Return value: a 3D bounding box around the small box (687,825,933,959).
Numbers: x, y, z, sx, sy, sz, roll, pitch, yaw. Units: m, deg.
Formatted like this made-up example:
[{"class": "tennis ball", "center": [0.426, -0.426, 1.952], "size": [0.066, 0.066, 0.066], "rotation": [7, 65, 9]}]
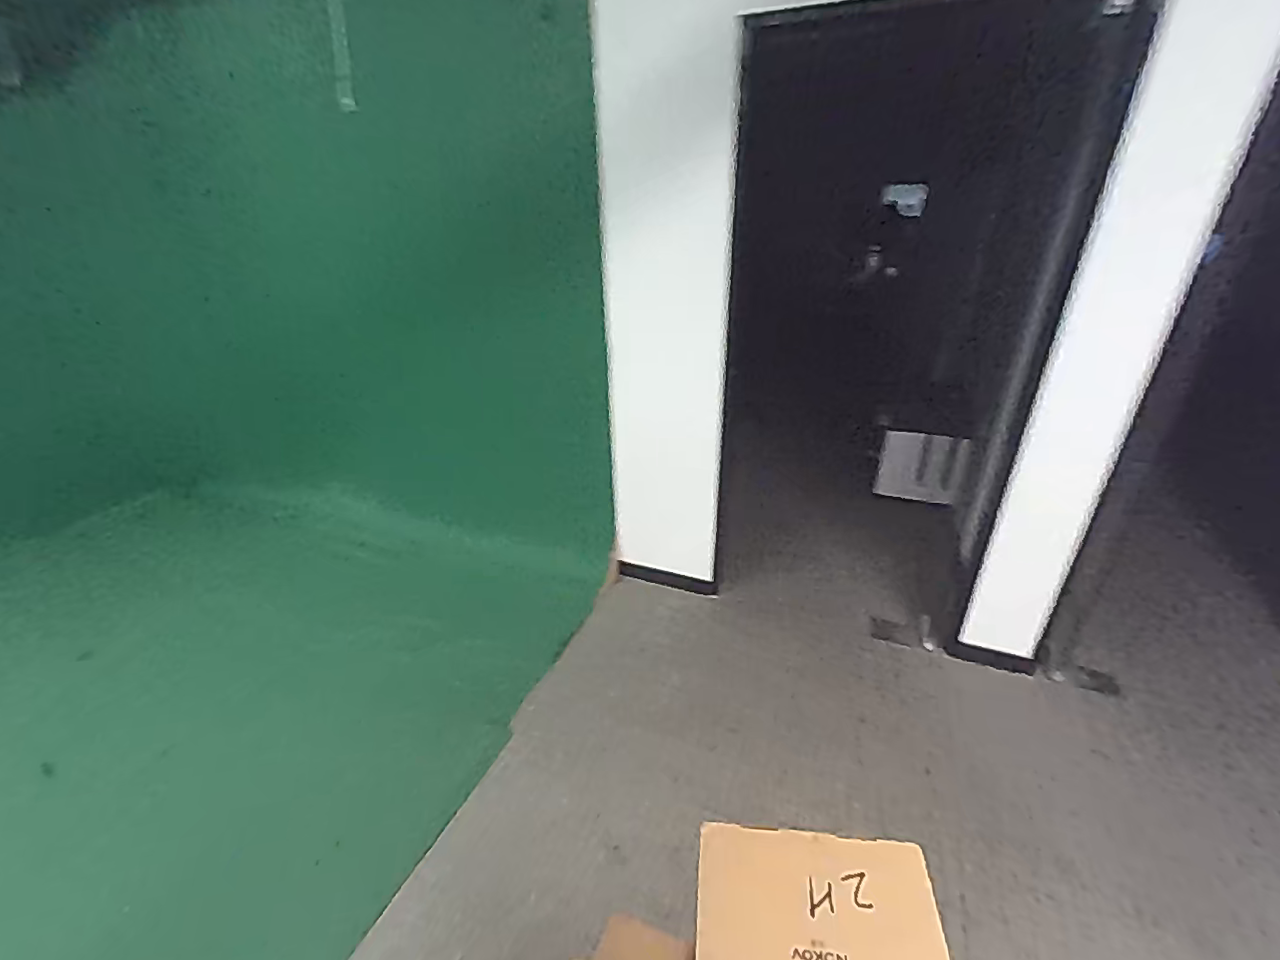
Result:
[{"class": "small box", "center": [0.119, 0.396, 0.403], "size": [0.168, 0.176, 0.179], "rotation": [2, 36, 9]}]
